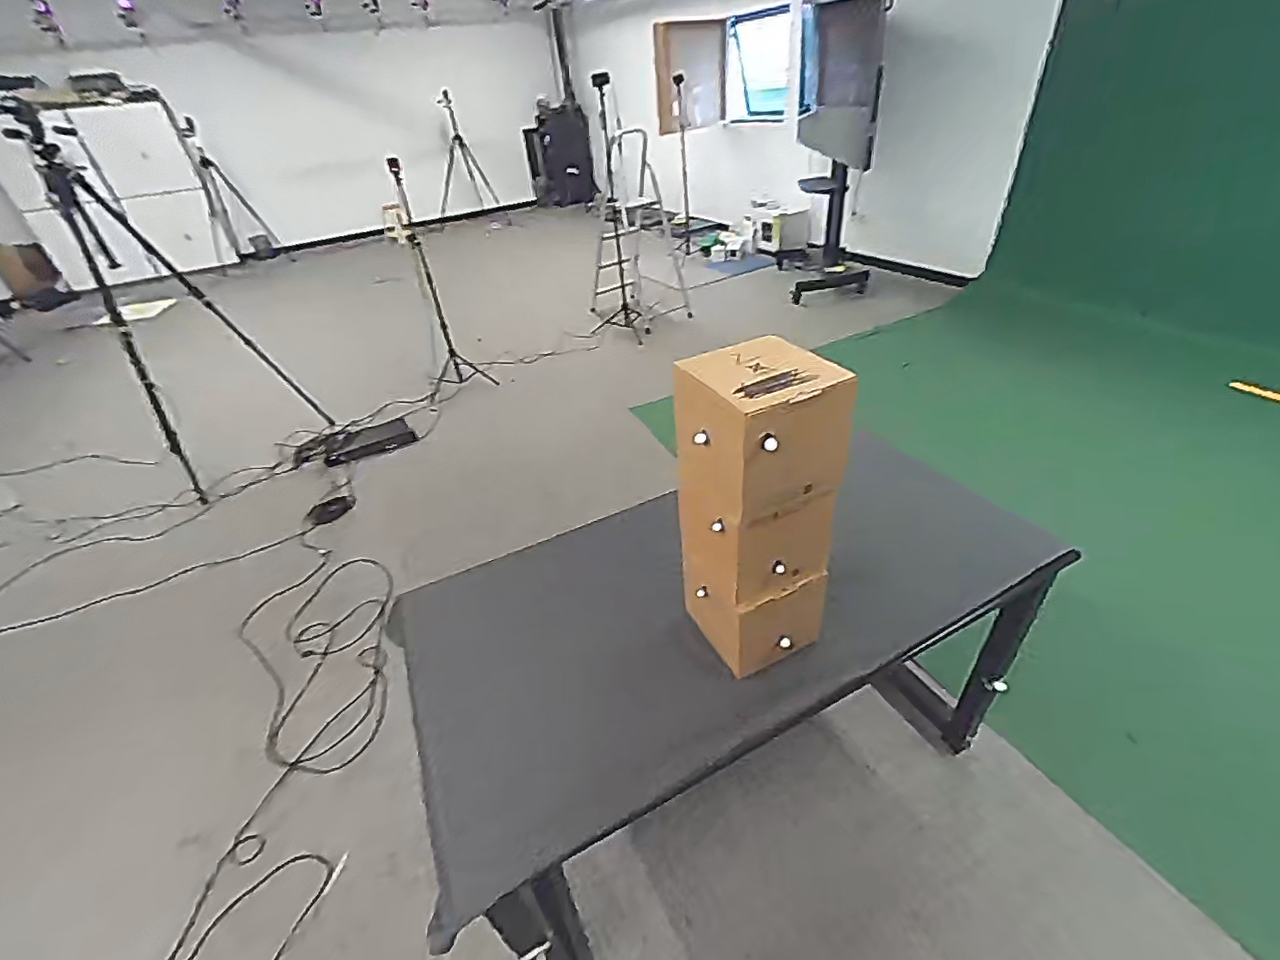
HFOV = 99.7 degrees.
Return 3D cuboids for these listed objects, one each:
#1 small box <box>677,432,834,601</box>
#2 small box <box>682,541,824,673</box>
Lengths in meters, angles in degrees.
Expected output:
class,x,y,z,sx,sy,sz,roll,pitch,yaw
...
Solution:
class,x,y,z,sx,sy,sz,roll,pitch,yaw
small box,0.168,0.052,0.836,0.168,0.176,0.179,-19,38,-18
small box,0.185,0.189,0.922,0.168,0.176,0.179,-20,38,-18
